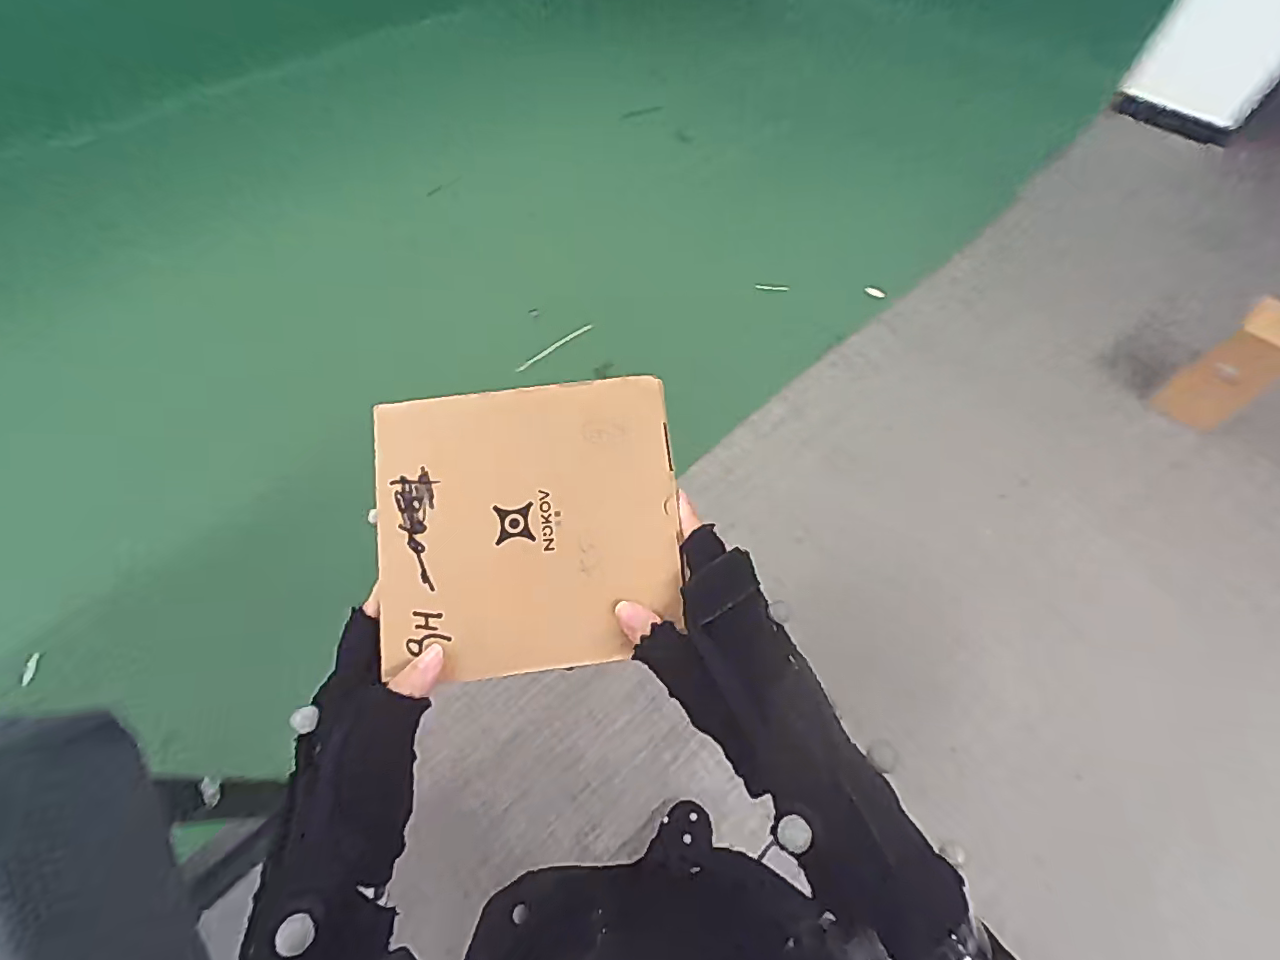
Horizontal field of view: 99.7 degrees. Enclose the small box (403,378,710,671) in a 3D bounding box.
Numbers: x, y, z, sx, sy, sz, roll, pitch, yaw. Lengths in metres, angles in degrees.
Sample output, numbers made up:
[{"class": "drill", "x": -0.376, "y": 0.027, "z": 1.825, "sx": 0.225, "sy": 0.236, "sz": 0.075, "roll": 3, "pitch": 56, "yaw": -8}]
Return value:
[{"class": "small box", "x": -0.055, "y": 0.037, "z": 0.399, "sx": 0.179, "sy": 0.176, "sz": 0.168, "roll": -5, "pitch": 78, "yaw": -3}]
